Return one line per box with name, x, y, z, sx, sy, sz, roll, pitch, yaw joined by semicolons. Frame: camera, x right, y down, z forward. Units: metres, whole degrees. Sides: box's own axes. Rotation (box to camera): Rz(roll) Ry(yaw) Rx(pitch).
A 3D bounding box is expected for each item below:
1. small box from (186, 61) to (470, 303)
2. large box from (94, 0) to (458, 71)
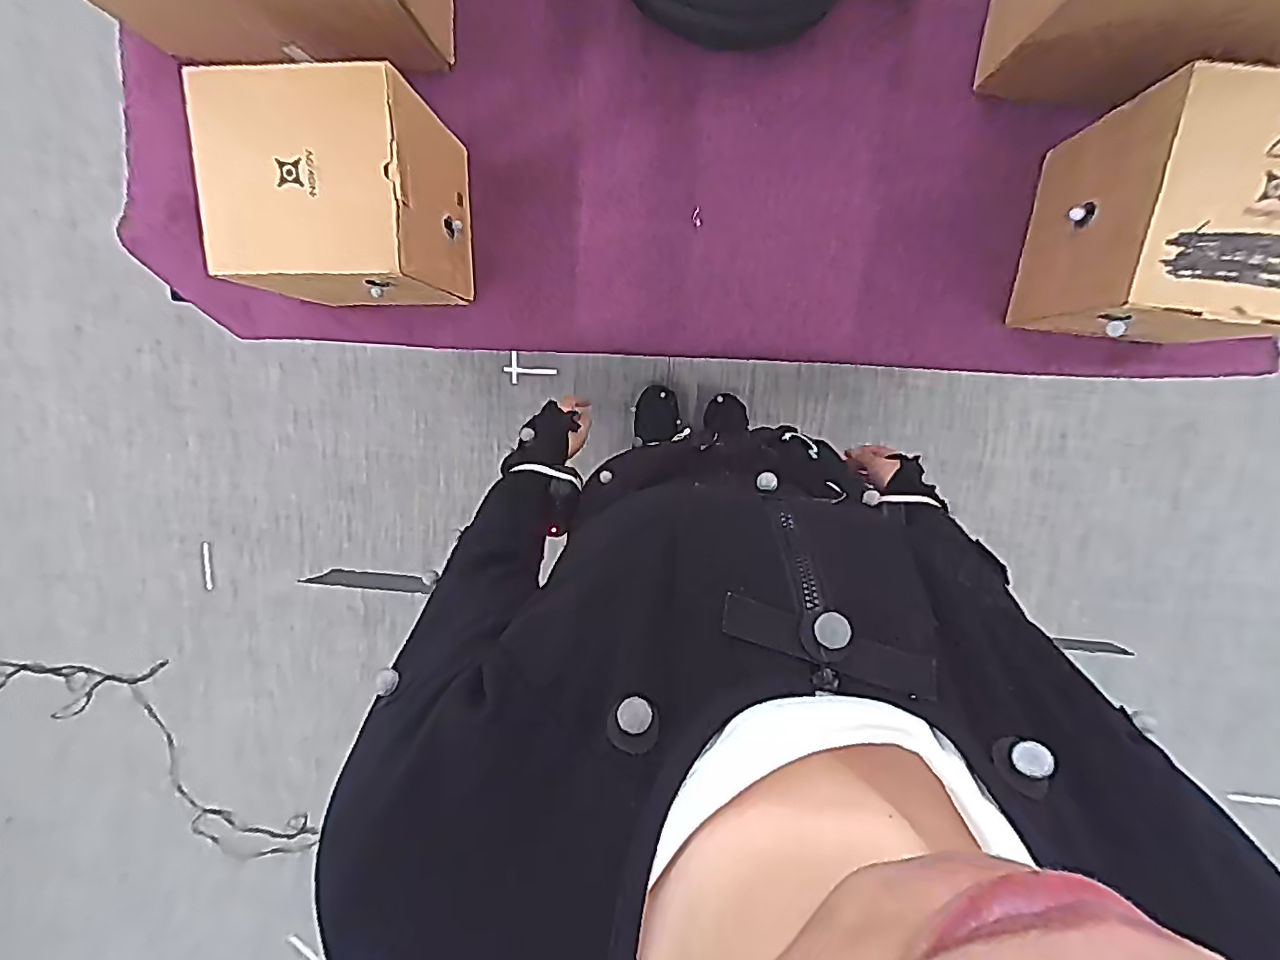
small box;-0.286;-0.272;0.533;0.179;0.176;0.168;0;99;2
large box;-0.342;-0.610;0.400;0.320;0.320;0.408;3;103;2
